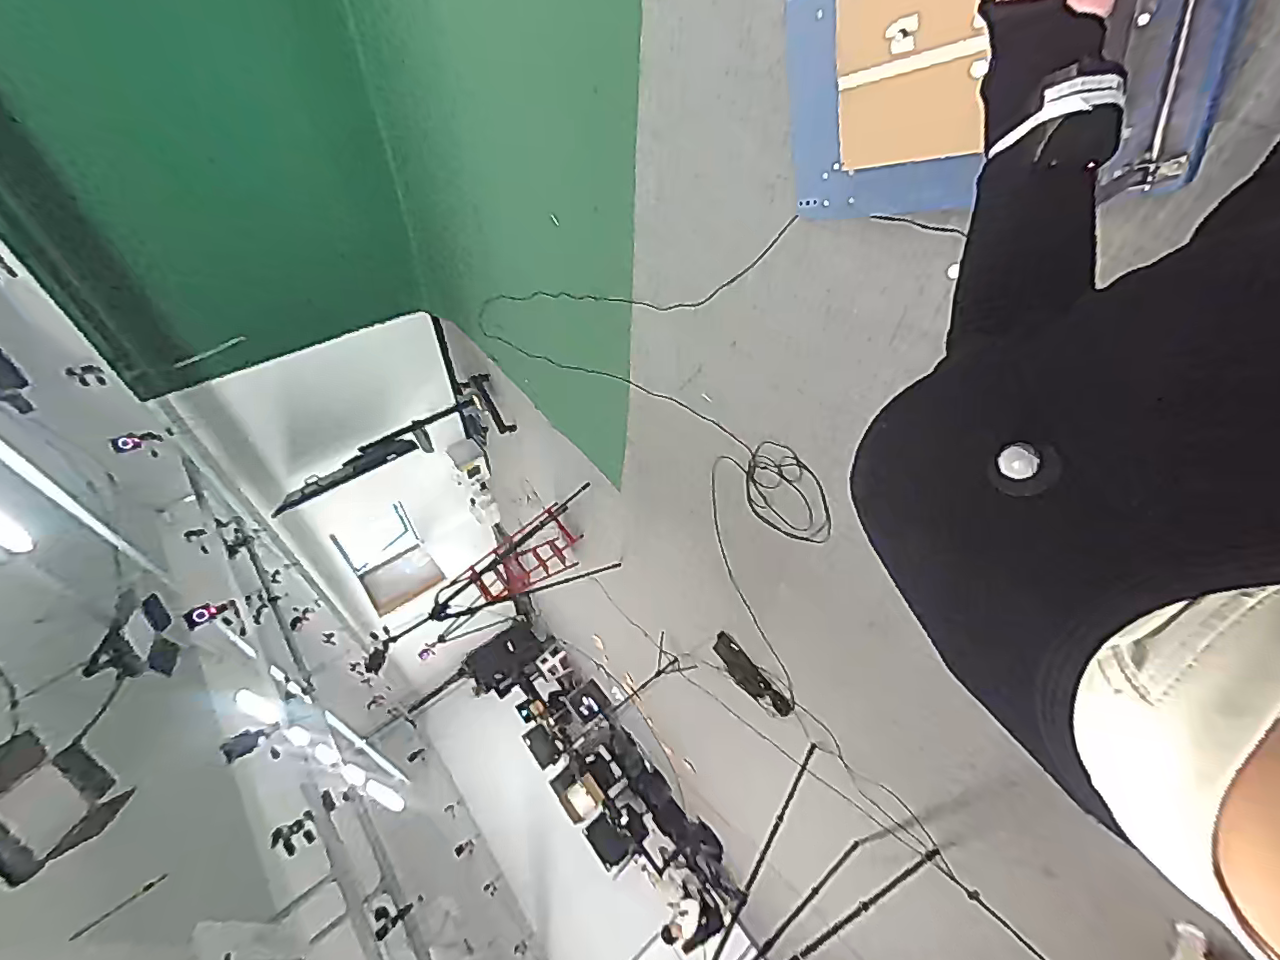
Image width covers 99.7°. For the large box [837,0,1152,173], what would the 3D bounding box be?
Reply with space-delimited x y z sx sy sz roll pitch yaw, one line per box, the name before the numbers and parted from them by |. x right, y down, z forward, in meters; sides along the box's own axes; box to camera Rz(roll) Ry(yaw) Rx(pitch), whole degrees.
large box | 0.632 -0.793 0.990 0.408 0.320 0.320 27 139 49
